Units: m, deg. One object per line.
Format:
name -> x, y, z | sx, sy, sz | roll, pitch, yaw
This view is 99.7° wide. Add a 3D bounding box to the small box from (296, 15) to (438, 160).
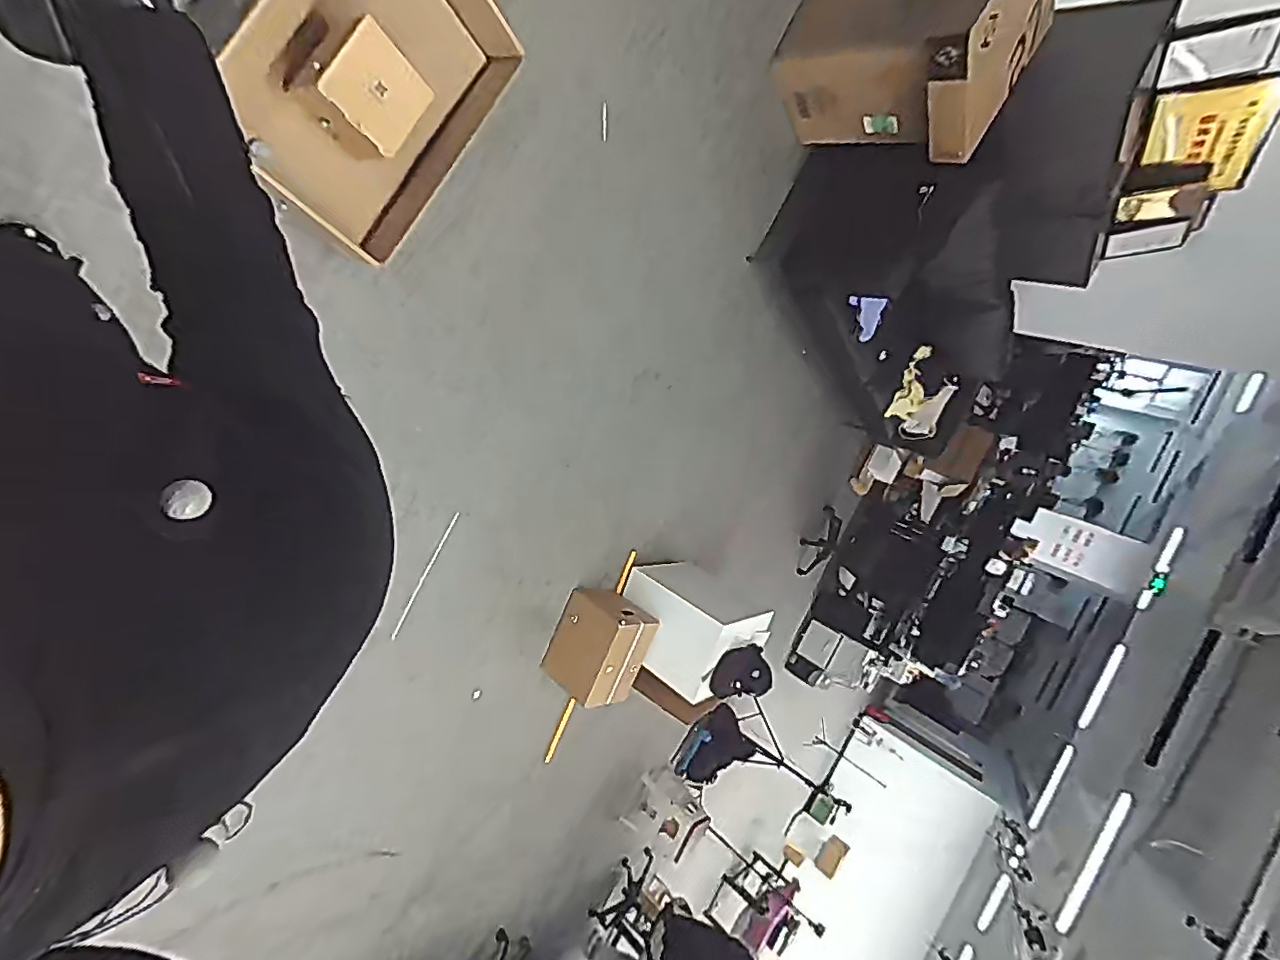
small box -> -0.559, -0.791, 1.102 | 0.179, 0.176, 0.168 | -59, 144, -5
